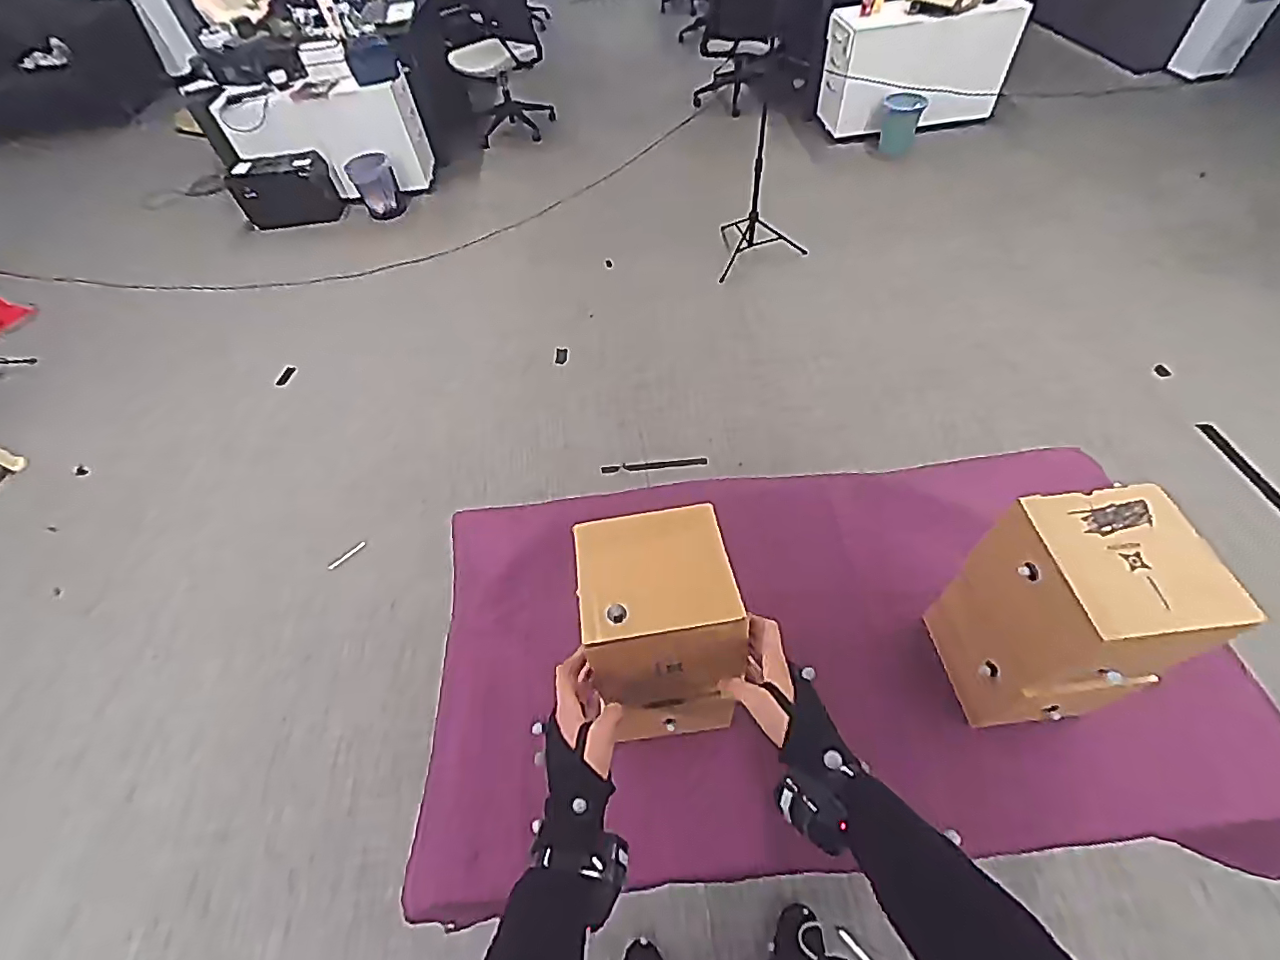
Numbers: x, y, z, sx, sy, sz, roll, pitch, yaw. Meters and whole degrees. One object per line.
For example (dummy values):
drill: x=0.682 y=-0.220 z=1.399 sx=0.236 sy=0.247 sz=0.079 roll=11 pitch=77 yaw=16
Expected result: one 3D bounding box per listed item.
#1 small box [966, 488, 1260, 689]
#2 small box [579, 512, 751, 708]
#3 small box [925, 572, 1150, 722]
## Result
small box: x=0.535 y=0.133 z=0.651 sx=0.168 sy=0.176 sz=0.179 roll=-7 pitch=54 yaw=1
small box: x=0.026 y=0.156 z=0.668 sx=0.179 sy=0.168 sz=0.176 roll=-9 pitch=46 yaw=-1
small box: x=0.547 y=0.238 z=0.777 sx=0.168 sy=0.176 sz=0.179 roll=-6 pitch=53 yaw=0
